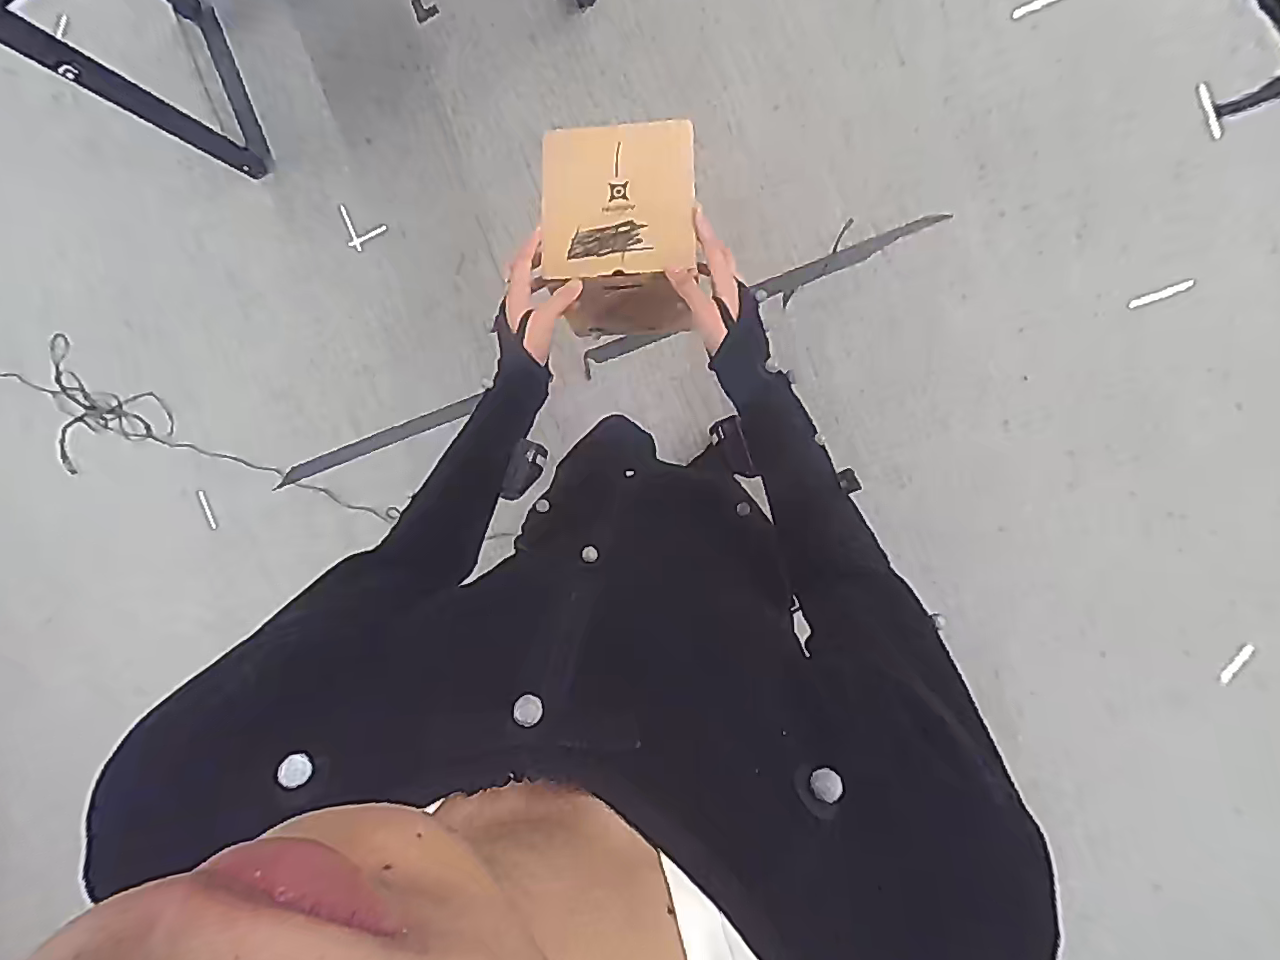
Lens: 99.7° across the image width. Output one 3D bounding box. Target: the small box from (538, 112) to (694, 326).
[{"bbox_3d":[-0.020,-0.295,0.654,0.168,0.176,0.179,-3,85,5],"label":"small box"}]
